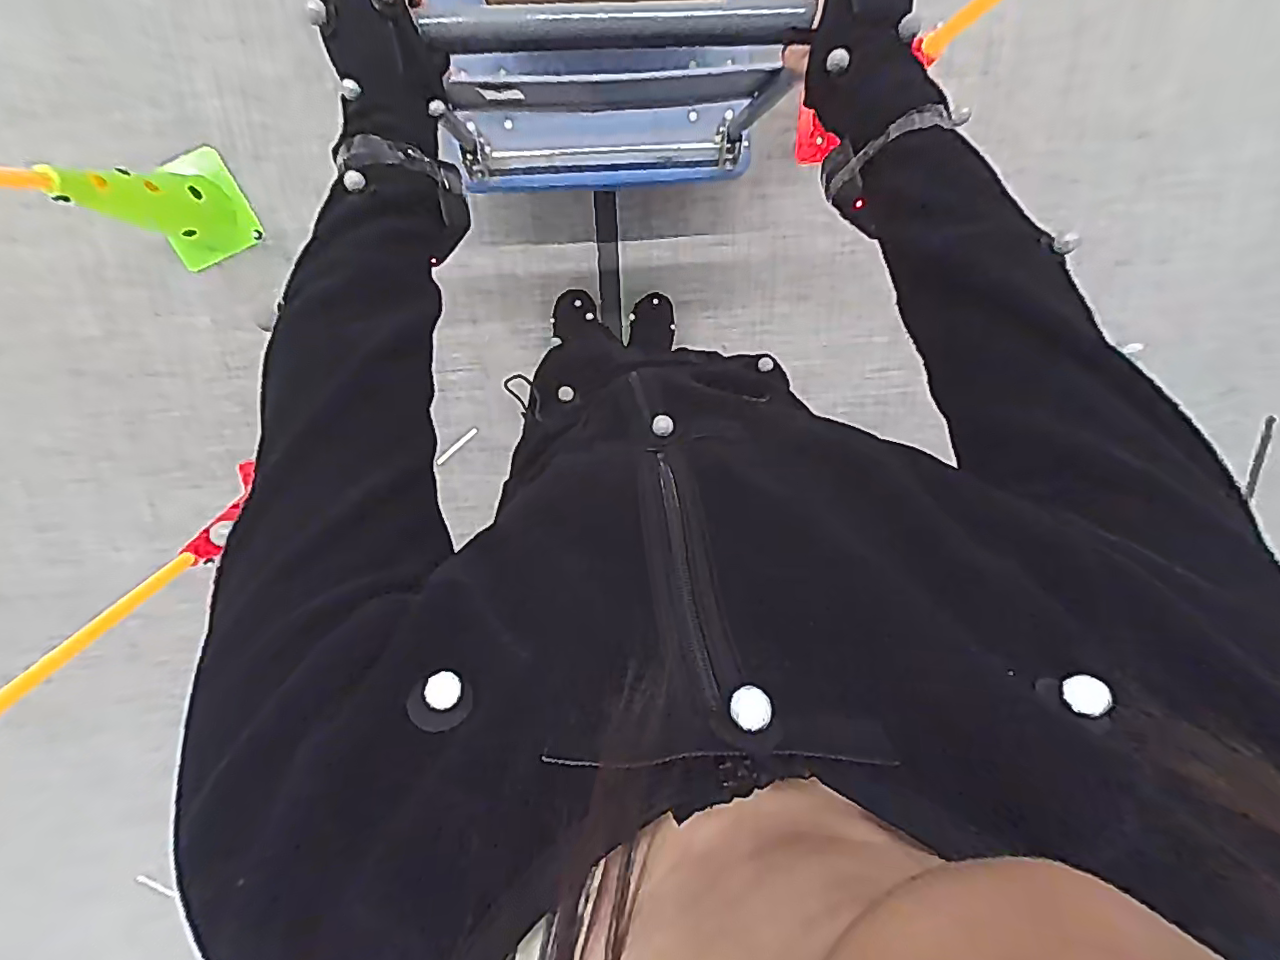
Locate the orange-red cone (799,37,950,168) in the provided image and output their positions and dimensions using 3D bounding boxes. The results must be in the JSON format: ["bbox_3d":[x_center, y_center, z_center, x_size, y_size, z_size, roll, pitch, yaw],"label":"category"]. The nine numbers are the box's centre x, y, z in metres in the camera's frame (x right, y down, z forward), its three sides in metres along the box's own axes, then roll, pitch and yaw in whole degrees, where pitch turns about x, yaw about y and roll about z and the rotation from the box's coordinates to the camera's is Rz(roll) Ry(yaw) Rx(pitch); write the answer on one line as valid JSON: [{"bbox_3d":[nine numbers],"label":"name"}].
[{"bbox_3d":[0.476,-0.758,1.043,0.199,0.360,0.198,2,109,-6],"label":"orange-red cone"}]
